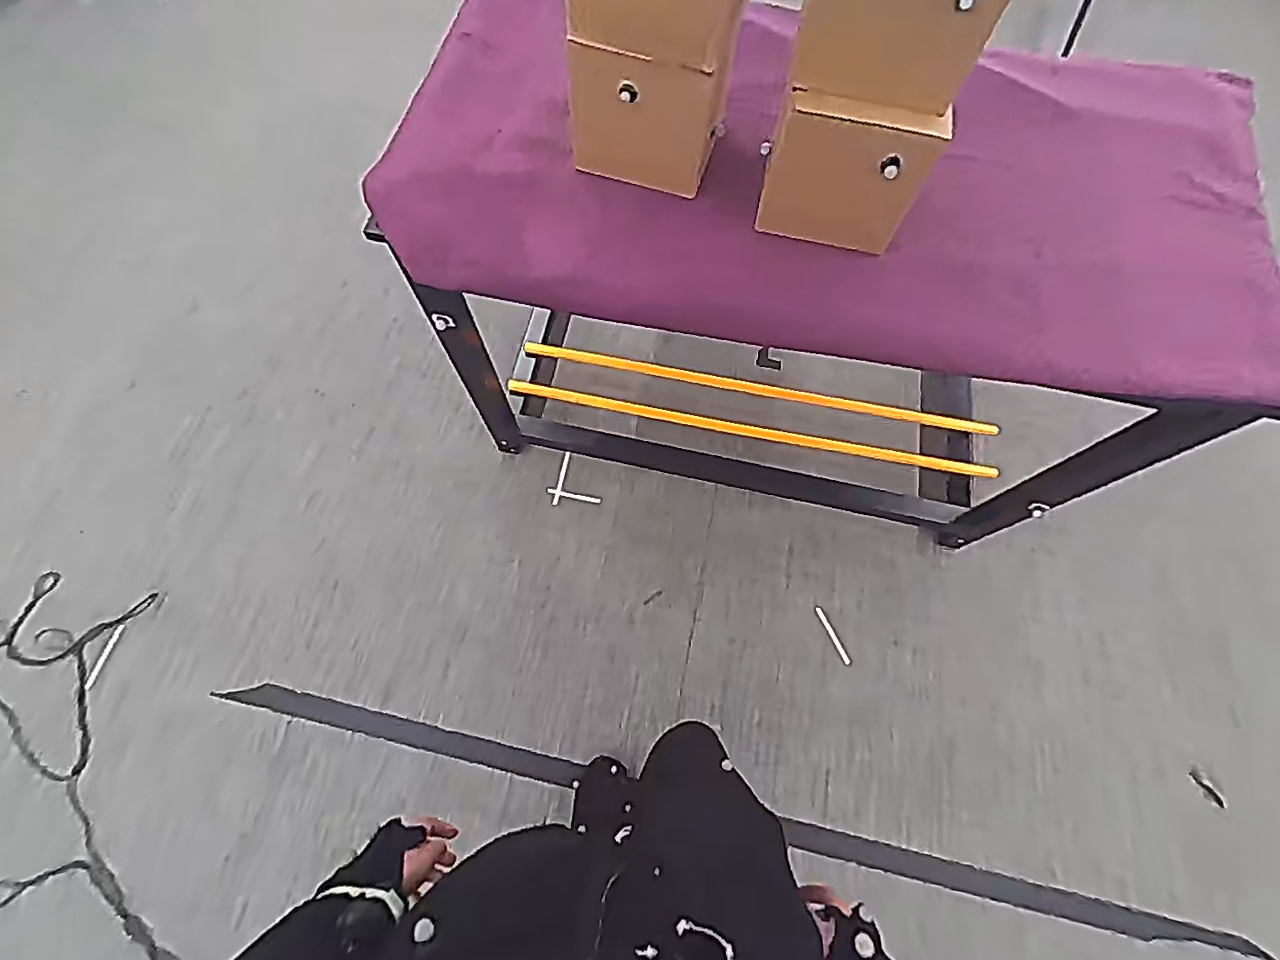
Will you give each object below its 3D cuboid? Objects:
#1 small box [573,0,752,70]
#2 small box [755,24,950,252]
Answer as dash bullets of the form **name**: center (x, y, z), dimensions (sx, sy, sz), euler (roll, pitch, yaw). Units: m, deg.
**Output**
- **small box**: center (0.036, -0.573, 0.562), dimensions (0.179, 0.176, 0.168), euler (20, 69, 6)
- **small box**: center (0.260, -0.421, 0.686), dimensions (0.179, 0.176, 0.168), euler (12, 68, 3)
